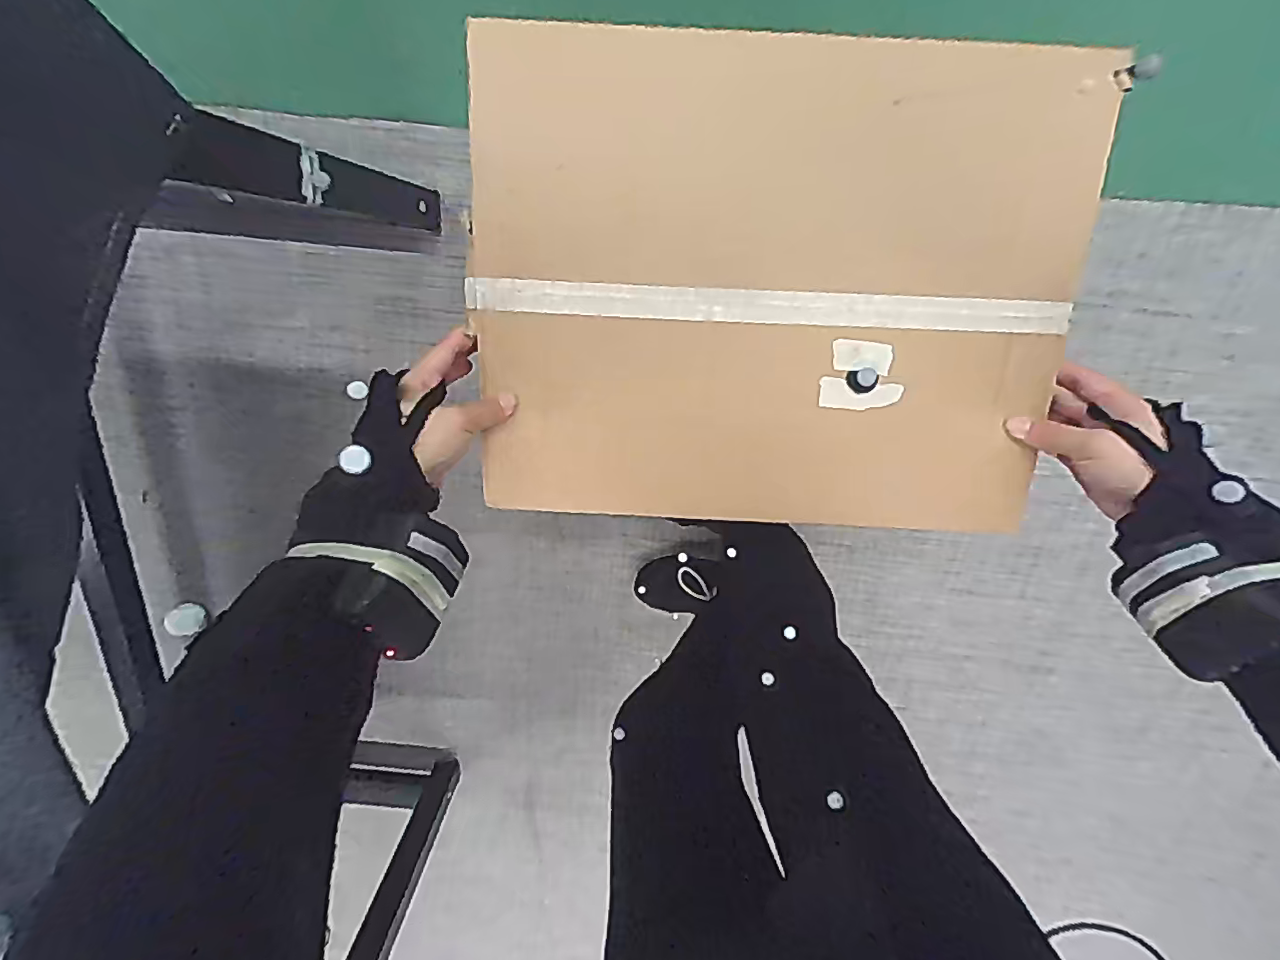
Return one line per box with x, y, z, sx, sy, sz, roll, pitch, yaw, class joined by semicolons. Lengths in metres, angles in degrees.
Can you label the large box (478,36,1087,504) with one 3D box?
0.088;-0.169;0.529;0.408;0.320;0.320;2;106;-1;large box
